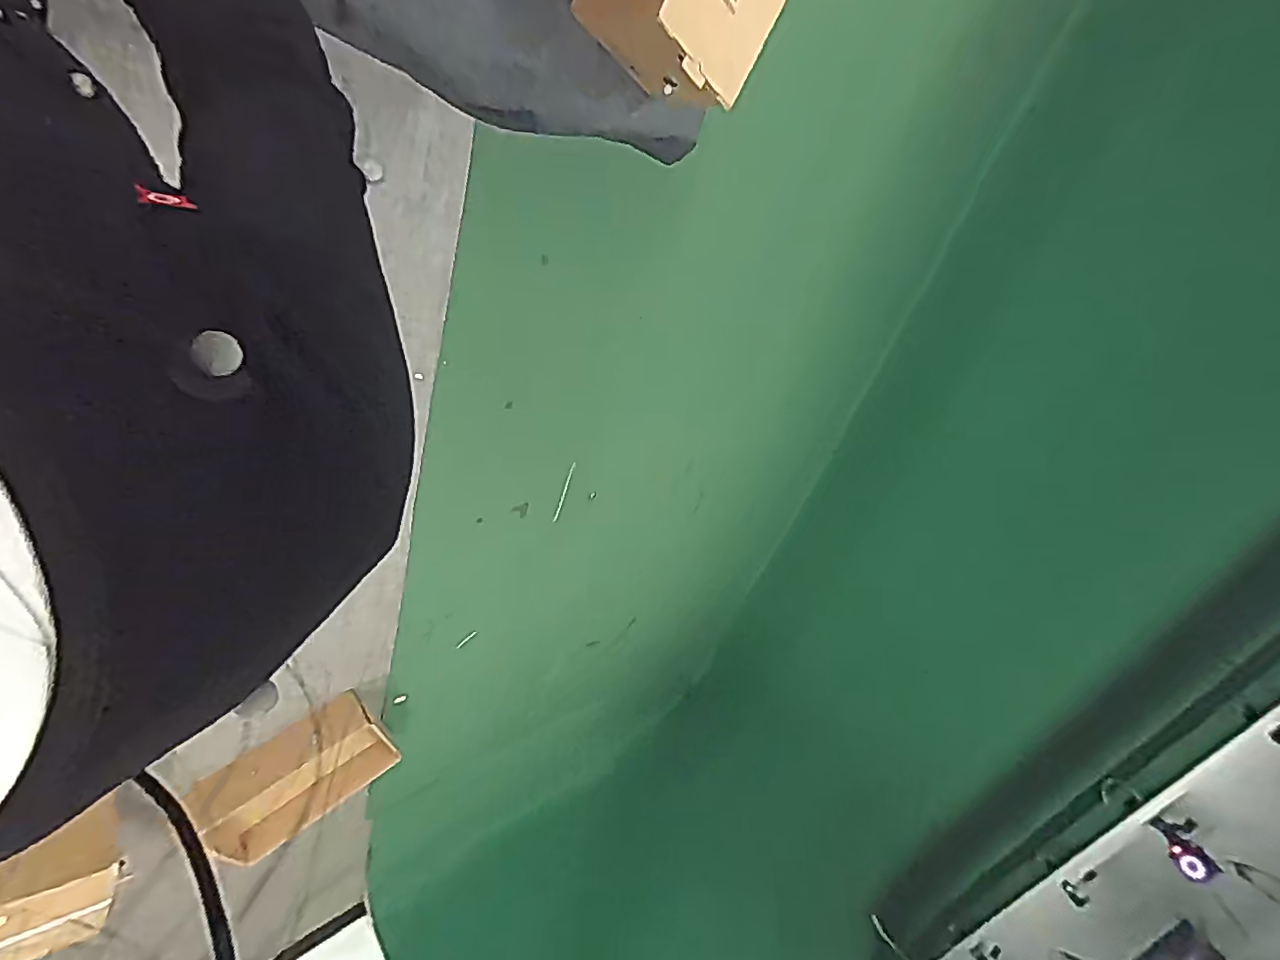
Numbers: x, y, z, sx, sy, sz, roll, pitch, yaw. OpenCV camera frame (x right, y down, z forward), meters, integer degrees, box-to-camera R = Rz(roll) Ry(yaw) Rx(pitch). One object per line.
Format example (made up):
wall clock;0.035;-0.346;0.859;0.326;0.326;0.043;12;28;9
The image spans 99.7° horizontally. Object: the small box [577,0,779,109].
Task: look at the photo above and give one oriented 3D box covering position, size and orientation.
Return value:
small box;0.046;-0.597;0.655;0.168;0.176;0.179;5;117;-52
